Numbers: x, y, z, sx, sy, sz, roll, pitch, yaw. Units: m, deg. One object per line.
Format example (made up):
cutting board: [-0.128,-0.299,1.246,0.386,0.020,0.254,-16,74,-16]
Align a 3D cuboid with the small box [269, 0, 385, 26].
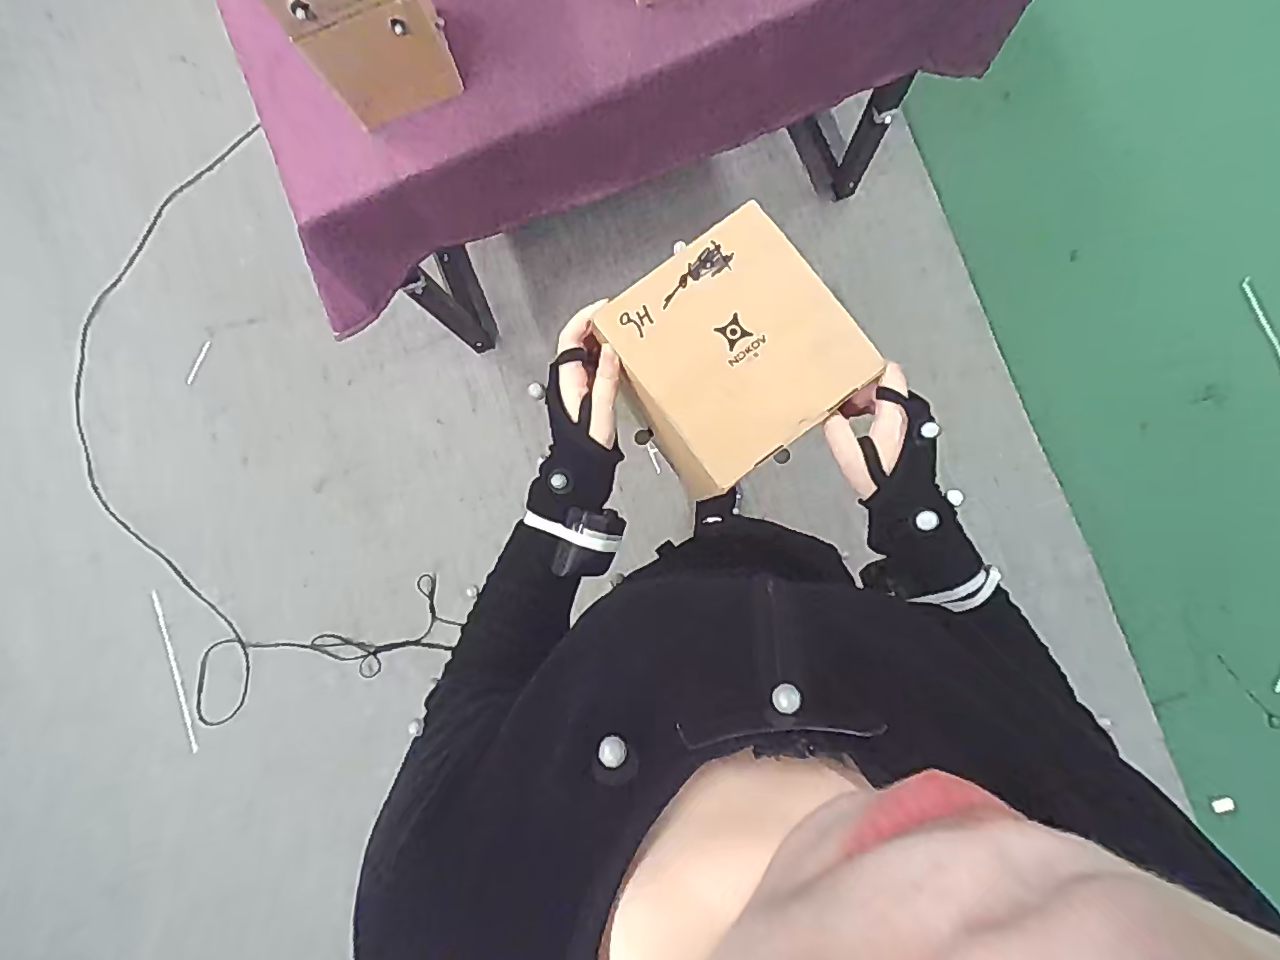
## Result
small box: [-0.408,-0.688,0.632,0.168,0.176,0.179,-21,83,2]

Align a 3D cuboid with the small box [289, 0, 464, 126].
small box: [-0.391,-0.670,0.795,0.179,0.176,0.168,-20,84,2]
